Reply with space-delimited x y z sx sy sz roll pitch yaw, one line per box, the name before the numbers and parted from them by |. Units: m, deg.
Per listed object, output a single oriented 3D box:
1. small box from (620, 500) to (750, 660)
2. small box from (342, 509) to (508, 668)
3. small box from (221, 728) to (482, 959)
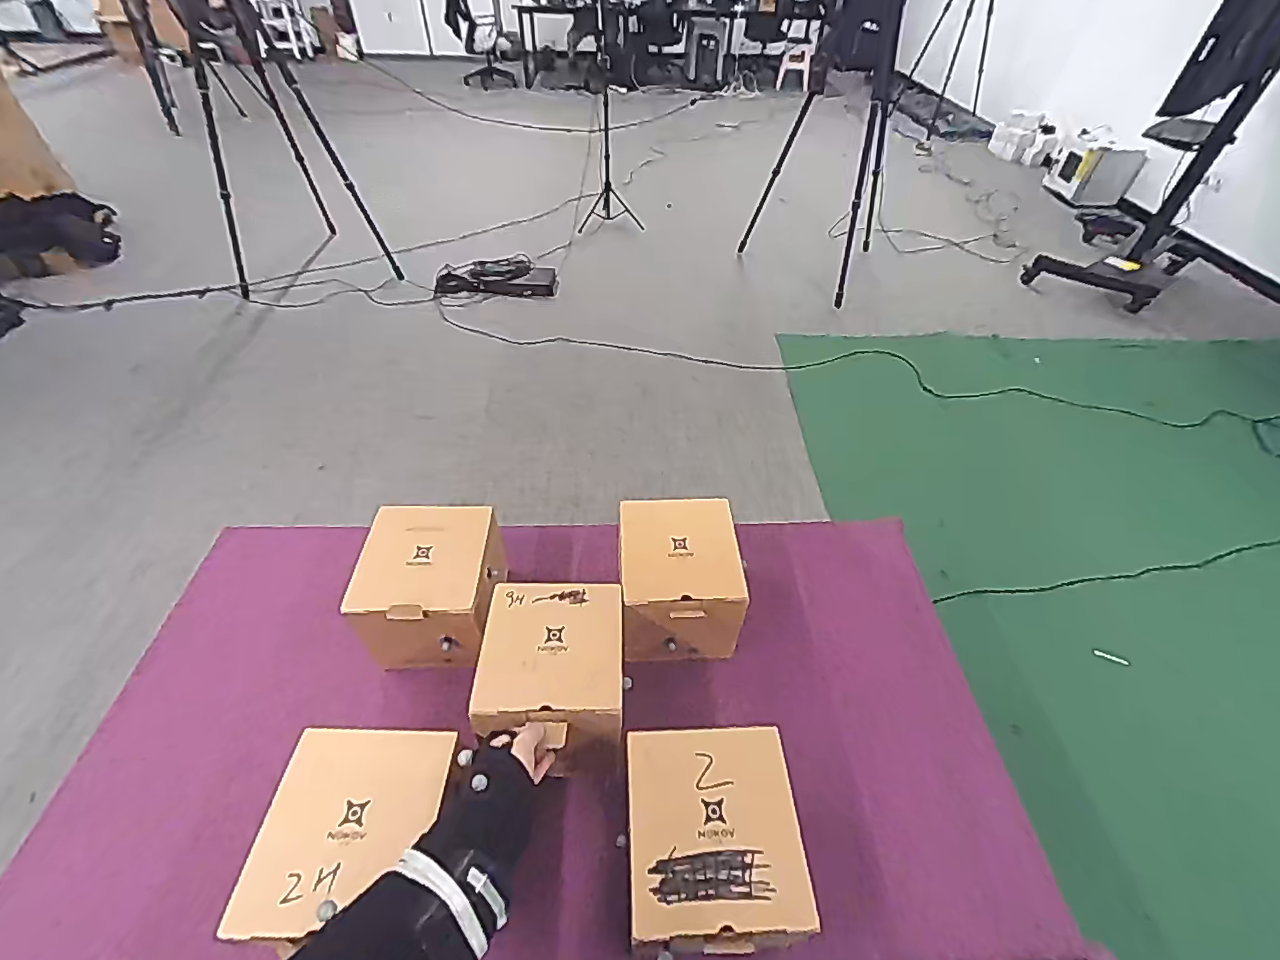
small box | 0.055 0.150 0.811 0.168 0.176 0.179 -2 48 -3
small box | -0.295 0.162 0.792 0.168 0.176 0.179 1 46 -2
small box | -0.277 0.386 0.575 0.168 0.176 0.179 1 46 1
